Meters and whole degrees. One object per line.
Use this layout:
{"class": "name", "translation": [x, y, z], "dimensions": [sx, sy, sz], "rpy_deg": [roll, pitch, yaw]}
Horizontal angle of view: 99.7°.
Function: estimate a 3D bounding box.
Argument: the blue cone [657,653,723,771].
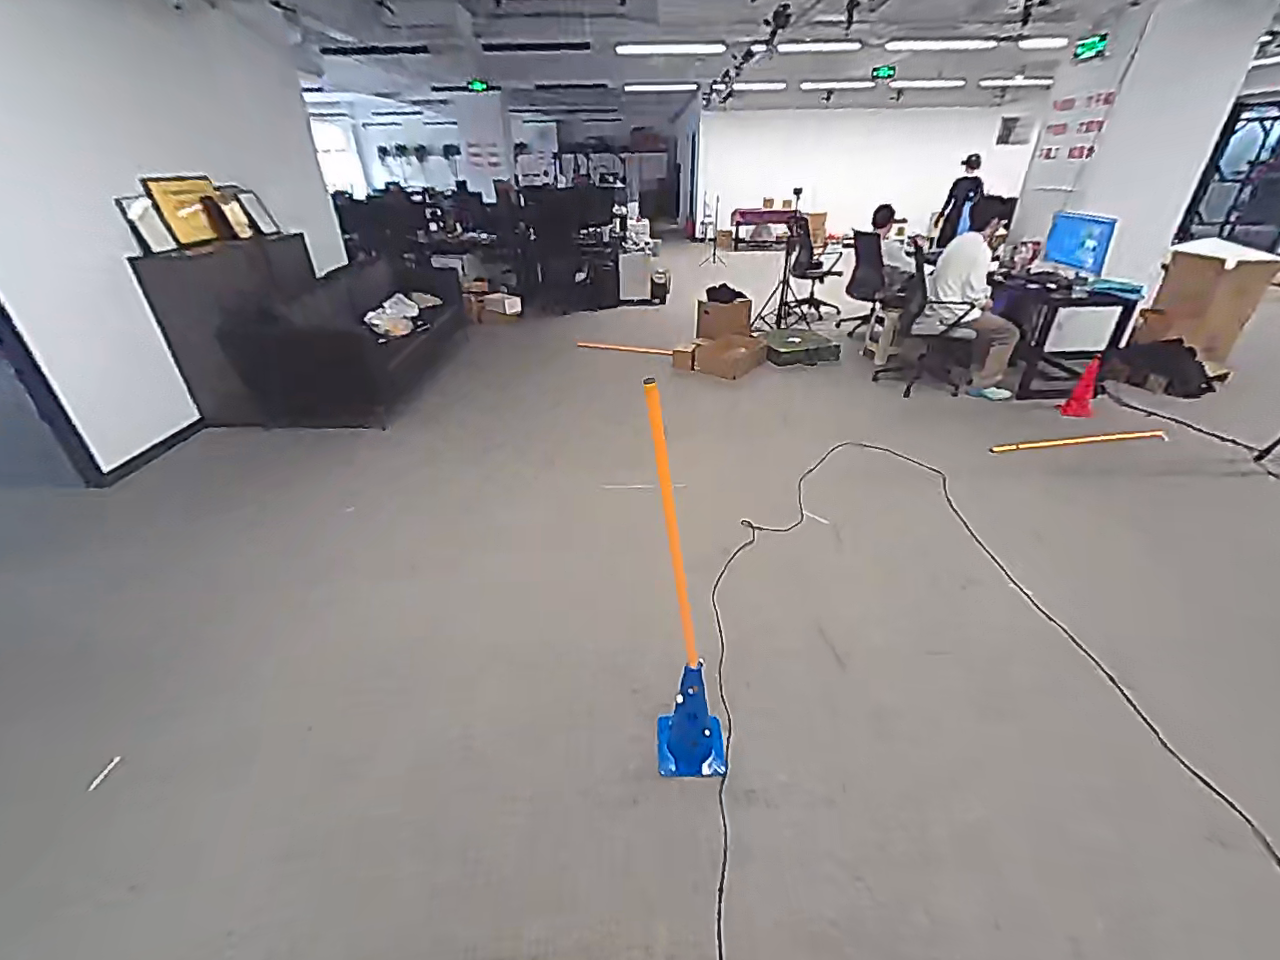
{"class": "blue cone", "translation": [0.144, 0.651, 1.562], "dimensions": [0.193, 0.380, 0.192], "rpy_deg": [-3, 30, -1]}
